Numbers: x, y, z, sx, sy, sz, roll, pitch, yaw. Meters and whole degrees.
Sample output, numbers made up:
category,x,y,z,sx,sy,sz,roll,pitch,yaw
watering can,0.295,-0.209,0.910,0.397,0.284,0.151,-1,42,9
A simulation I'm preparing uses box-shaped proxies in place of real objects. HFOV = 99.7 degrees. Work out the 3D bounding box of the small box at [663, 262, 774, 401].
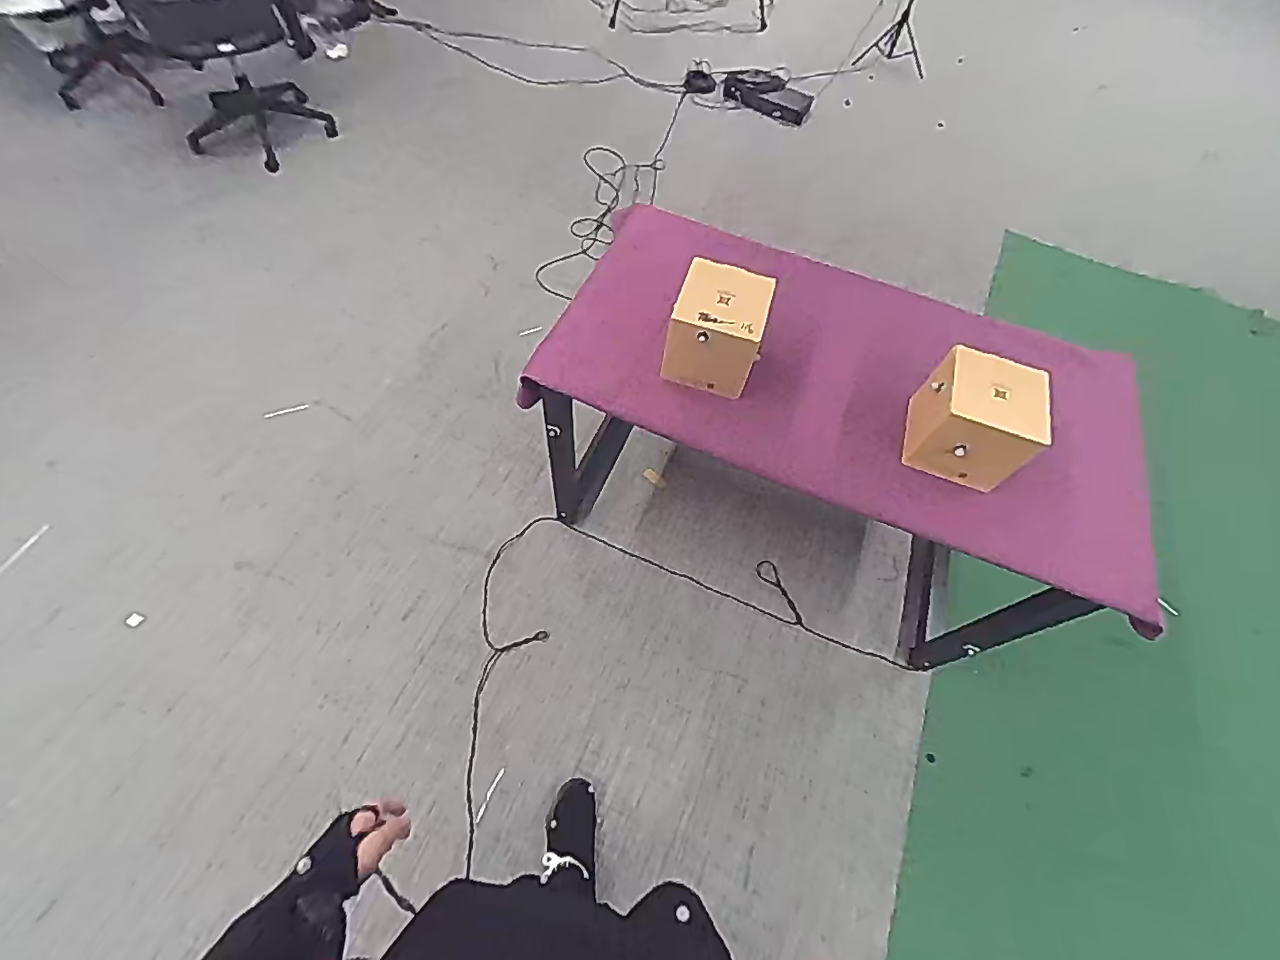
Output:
category,x,y,z,sx,sy,sz,roll,pitch,yaw
small box,0.148,-0.287,1.060,0.168,0.176,0.179,17,60,5

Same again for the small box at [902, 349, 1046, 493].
category,x,y,z,sx,sy,sz,roll,pitch,yaw
small box,0.606,-0.103,0.996,0.168,0.176,0.179,20,59,7
